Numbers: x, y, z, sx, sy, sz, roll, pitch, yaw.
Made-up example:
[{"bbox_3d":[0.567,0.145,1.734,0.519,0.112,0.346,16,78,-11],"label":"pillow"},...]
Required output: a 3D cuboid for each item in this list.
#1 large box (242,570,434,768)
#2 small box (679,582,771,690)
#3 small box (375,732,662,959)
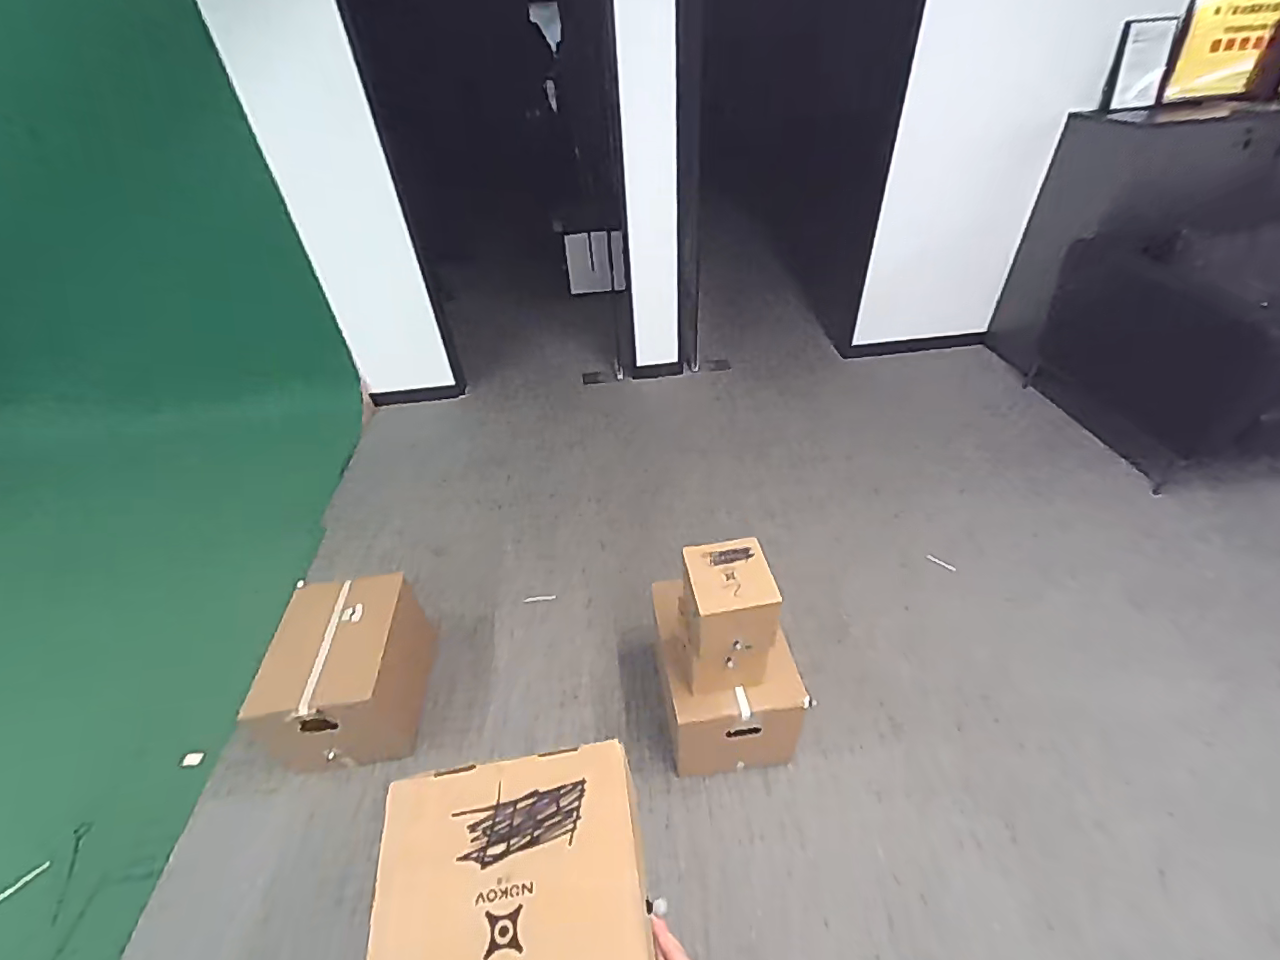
[{"bbox_3d":[-0.810,0.525,1.527,0.320,0.320,0.408,-7,40,-3],"label":"large box"},{"bbox_3d":[0.192,0.366,1.267,0.179,0.176,0.168,-9,41,-4],"label":"small box"},{"bbox_3d":[-0.074,0.311,0.396,0.168,0.176,0.179,-9,50,-3],"label":"small box"}]
